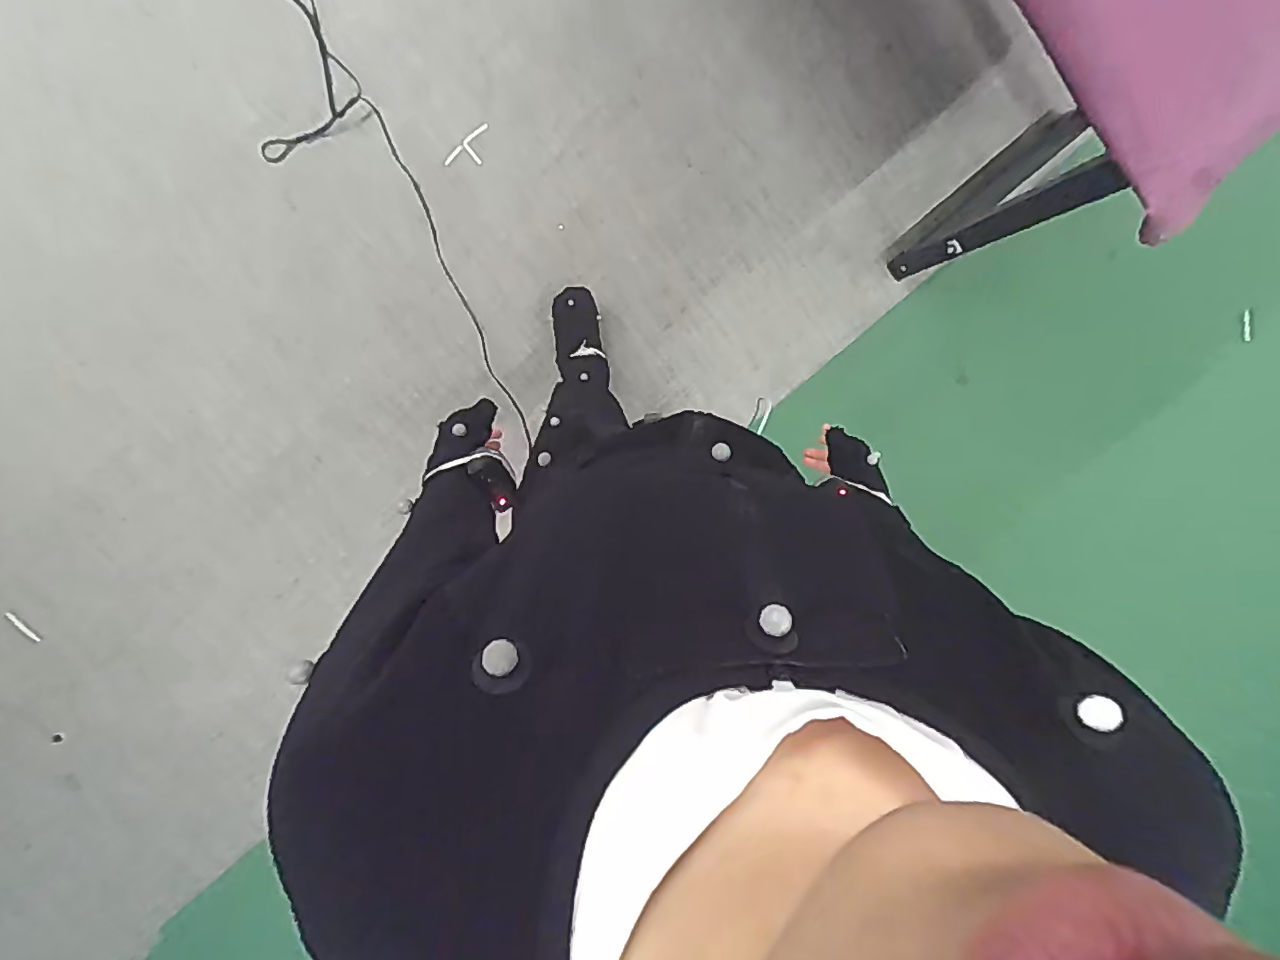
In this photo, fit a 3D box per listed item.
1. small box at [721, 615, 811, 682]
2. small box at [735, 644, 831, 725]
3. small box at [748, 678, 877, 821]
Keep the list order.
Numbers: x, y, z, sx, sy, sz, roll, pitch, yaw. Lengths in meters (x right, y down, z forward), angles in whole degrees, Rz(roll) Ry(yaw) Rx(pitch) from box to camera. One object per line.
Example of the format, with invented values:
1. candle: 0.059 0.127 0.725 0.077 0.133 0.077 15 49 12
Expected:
1. small box: 0.345 0.502 1.475 0.168 0.176 0.179 -40 99 4
2. small box: 0.349 0.537 1.312 0.179 0.176 0.168 -38 101 5
3. small box: 0.357 0.563 1.154 0.179 0.176 0.168 -41 99 6
